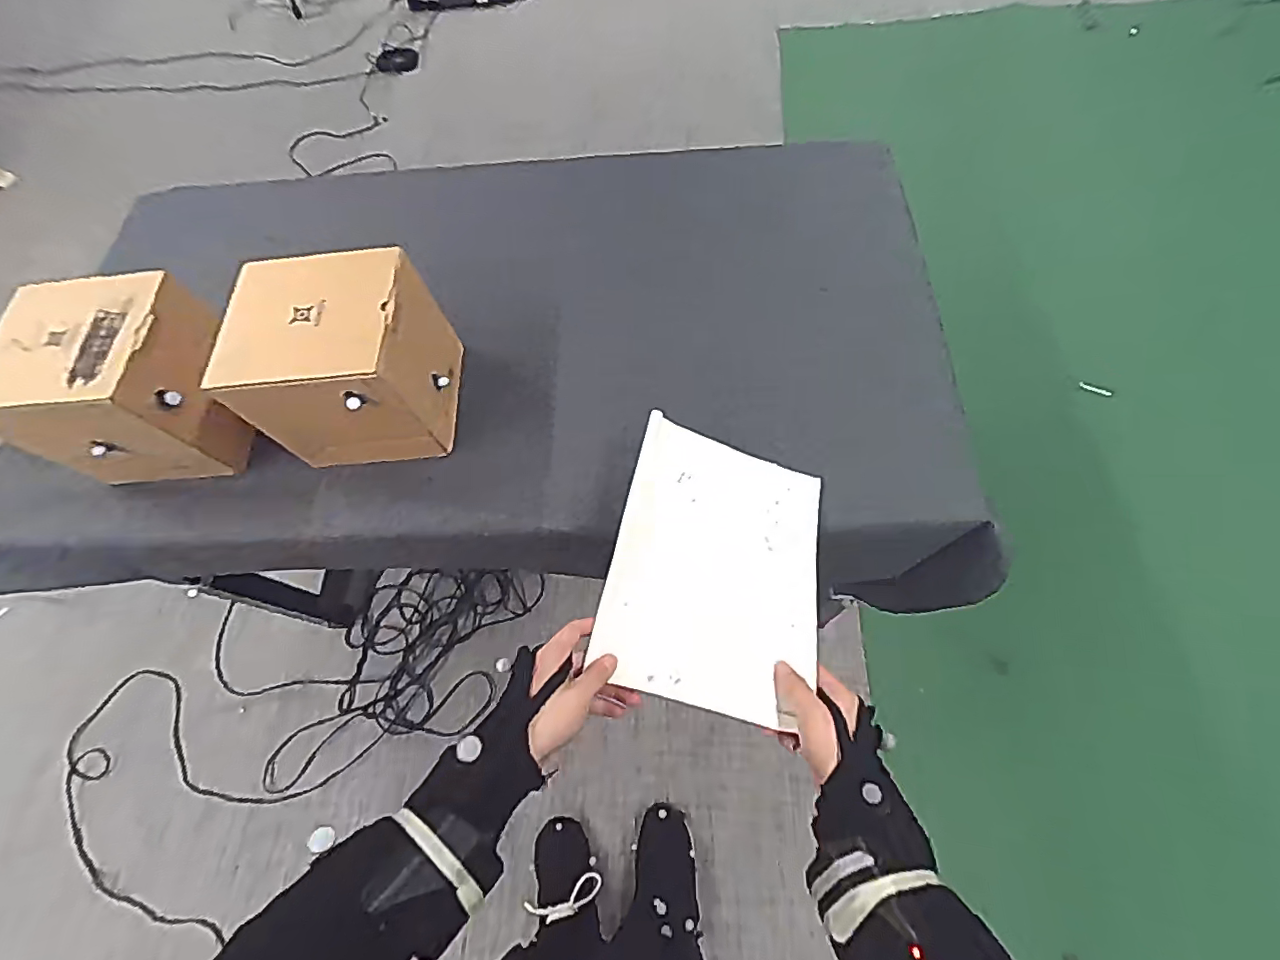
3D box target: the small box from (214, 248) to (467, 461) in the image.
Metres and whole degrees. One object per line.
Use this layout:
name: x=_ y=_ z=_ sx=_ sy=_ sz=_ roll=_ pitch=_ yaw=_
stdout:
small box: x=-0.319 y=-0.132 z=0.617 sx=0.179 sy=0.176 sz=0.168 roll=-5 pitch=65 yaw=3
